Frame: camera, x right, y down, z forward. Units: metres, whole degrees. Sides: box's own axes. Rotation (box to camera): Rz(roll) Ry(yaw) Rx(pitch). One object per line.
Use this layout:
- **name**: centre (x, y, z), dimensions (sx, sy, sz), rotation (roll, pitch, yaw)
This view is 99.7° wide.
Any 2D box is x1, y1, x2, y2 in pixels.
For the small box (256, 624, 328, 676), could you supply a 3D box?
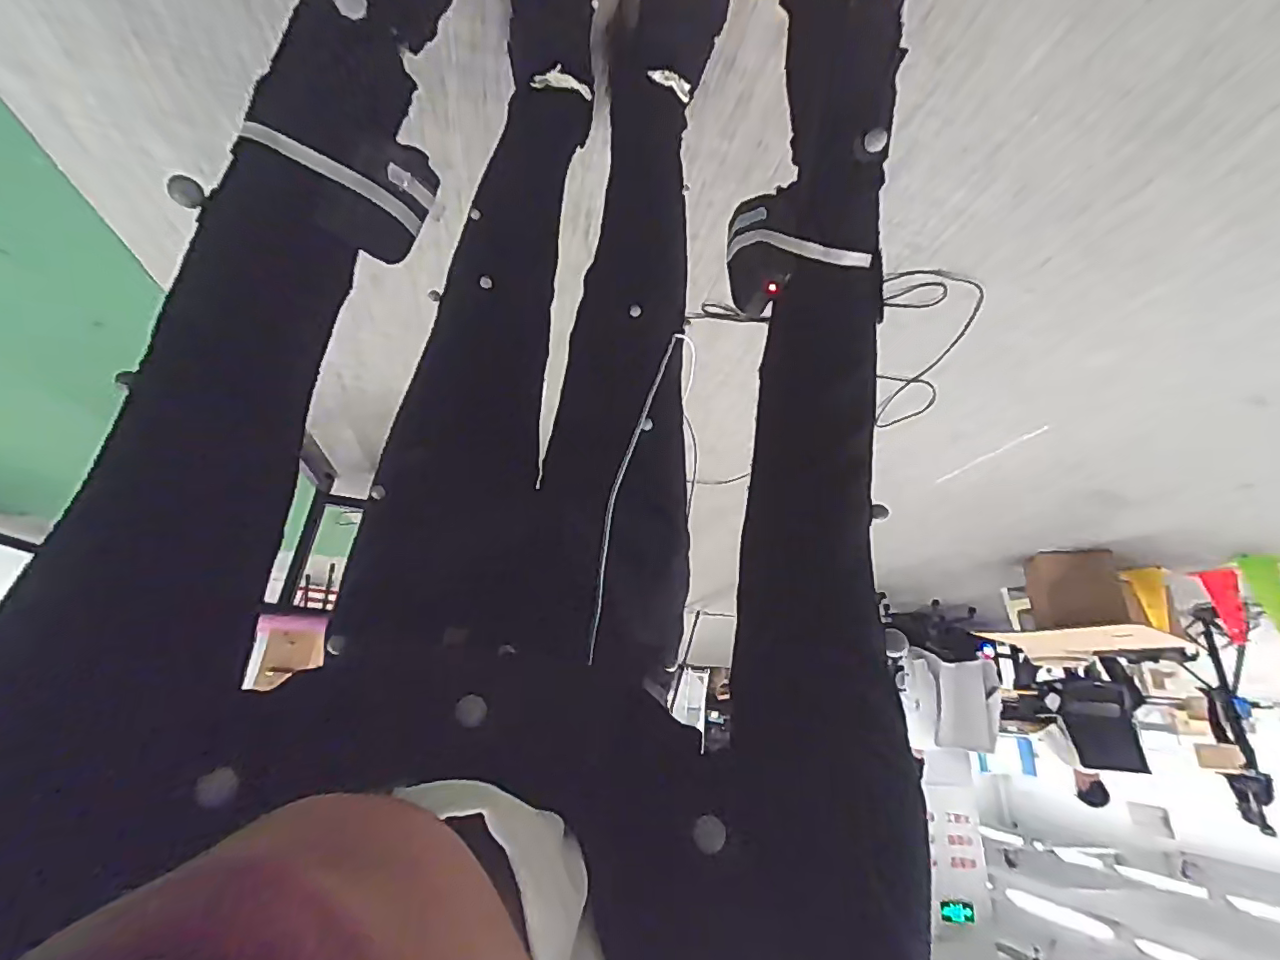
- **small box**: centre (-1.319, 0.650, 2.064), dimensions (0.168, 0.176, 0.179), rotation (8, 158, -11)

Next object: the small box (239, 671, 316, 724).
- **small box**: centre (-1.335, 0.801, 2.005), dimensions (0.168, 0.176, 0.179), rotation (9, 157, -11)
